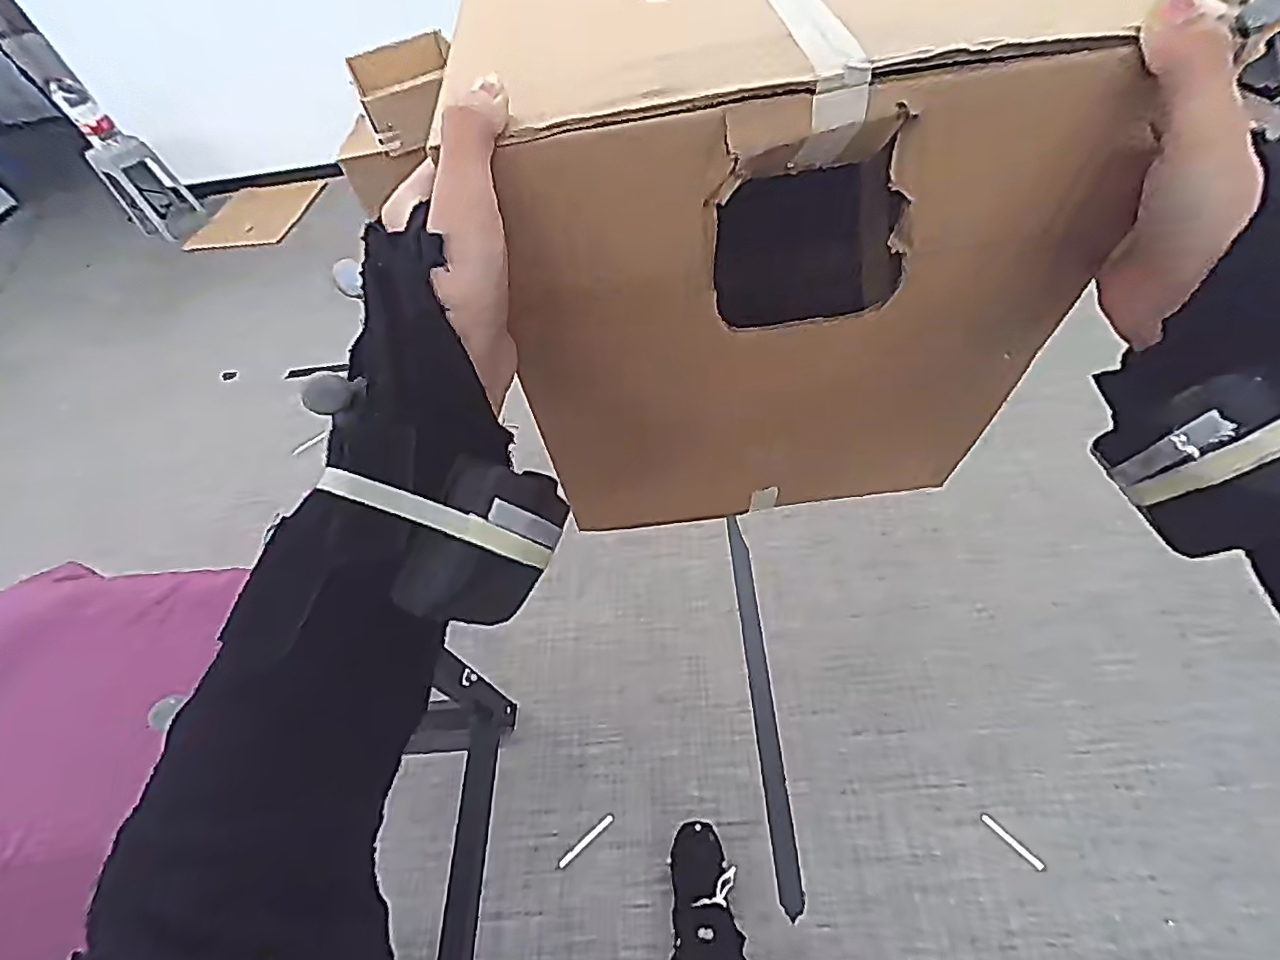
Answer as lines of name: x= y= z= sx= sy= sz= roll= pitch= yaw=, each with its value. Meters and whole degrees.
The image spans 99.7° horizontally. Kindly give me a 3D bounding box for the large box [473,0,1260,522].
large box: x=0.074 y=-0.227 z=0.437 sx=0.320 sy=0.320 sz=0.408 roll=-9 pitch=57 yaw=2
